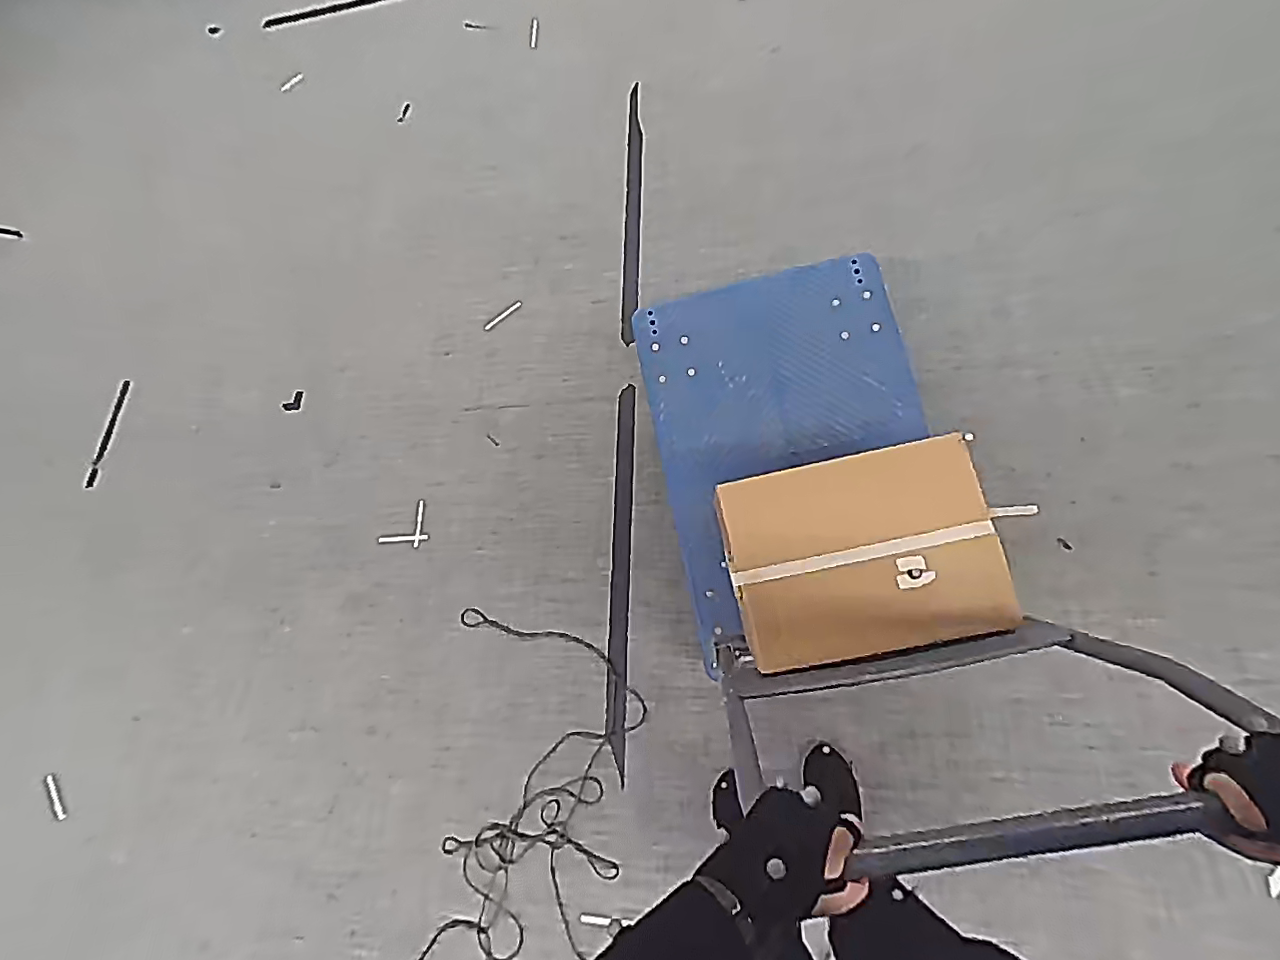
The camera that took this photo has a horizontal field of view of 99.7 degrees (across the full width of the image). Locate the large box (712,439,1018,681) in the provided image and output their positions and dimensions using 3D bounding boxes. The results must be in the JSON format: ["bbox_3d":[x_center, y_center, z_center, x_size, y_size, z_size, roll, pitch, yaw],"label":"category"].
[{"bbox_3d":[0.366,0.149,1.003,0.408,0.320,0.320,-13,81,4],"label":"large box"}]
